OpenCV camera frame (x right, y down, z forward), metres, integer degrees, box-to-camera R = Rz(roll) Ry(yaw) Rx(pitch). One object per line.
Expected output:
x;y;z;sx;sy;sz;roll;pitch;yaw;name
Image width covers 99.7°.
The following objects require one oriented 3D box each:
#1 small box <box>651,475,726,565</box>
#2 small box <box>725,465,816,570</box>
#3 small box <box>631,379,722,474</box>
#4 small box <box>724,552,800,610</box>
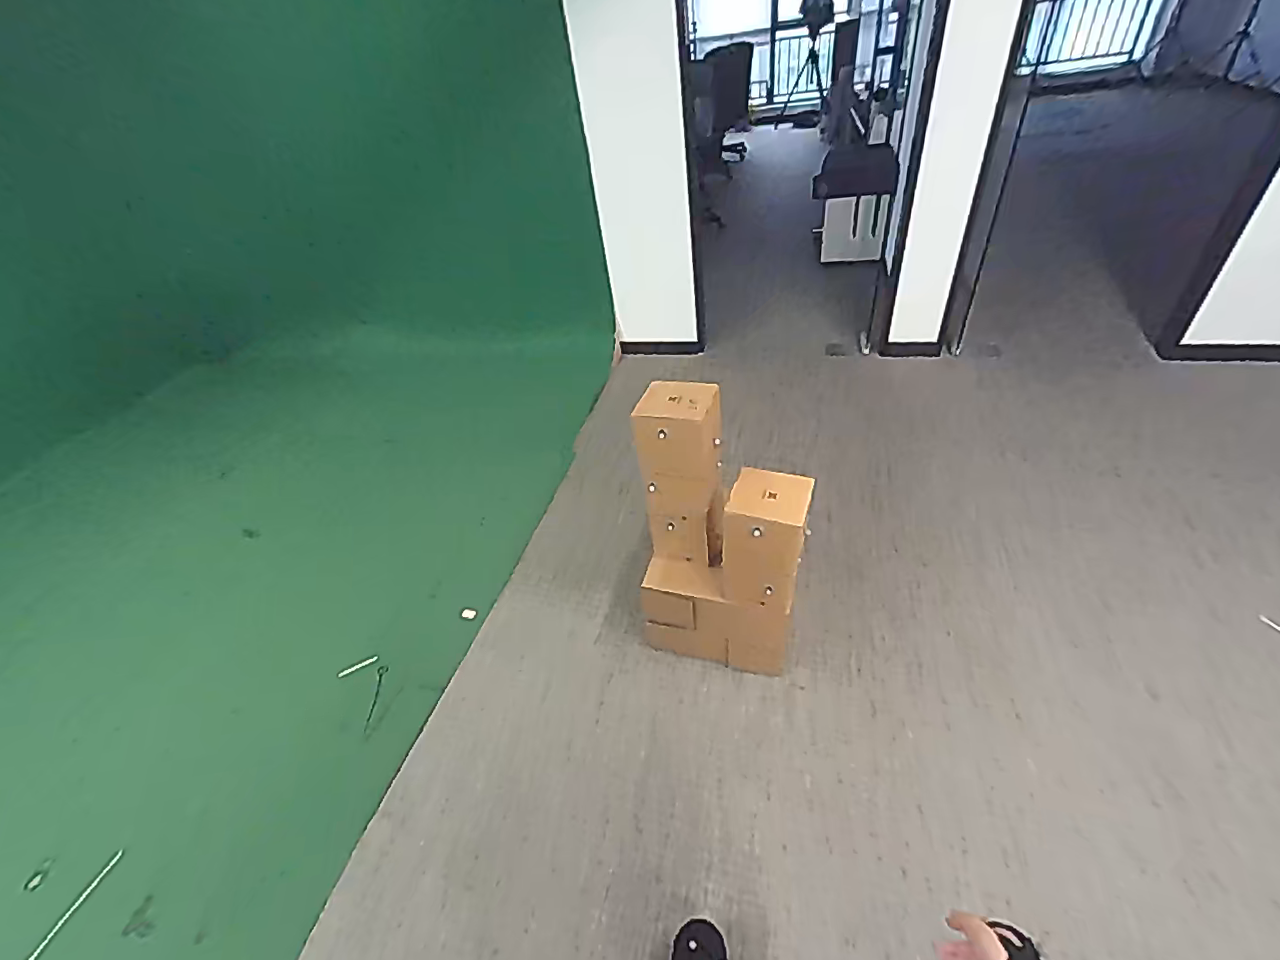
0.144;0.113;1.545;0.168;0.176;0.179;8;42;22;small box
0.309;0.091;1.284;0.179;0.176;0.168;11;44;21;small box
0.096;-0.130;1.327;0.179;0.176;0.168;7;42;20;small box
0.321;0.207;1.398;0.168;0.176;0.179;11;43;20;small box
